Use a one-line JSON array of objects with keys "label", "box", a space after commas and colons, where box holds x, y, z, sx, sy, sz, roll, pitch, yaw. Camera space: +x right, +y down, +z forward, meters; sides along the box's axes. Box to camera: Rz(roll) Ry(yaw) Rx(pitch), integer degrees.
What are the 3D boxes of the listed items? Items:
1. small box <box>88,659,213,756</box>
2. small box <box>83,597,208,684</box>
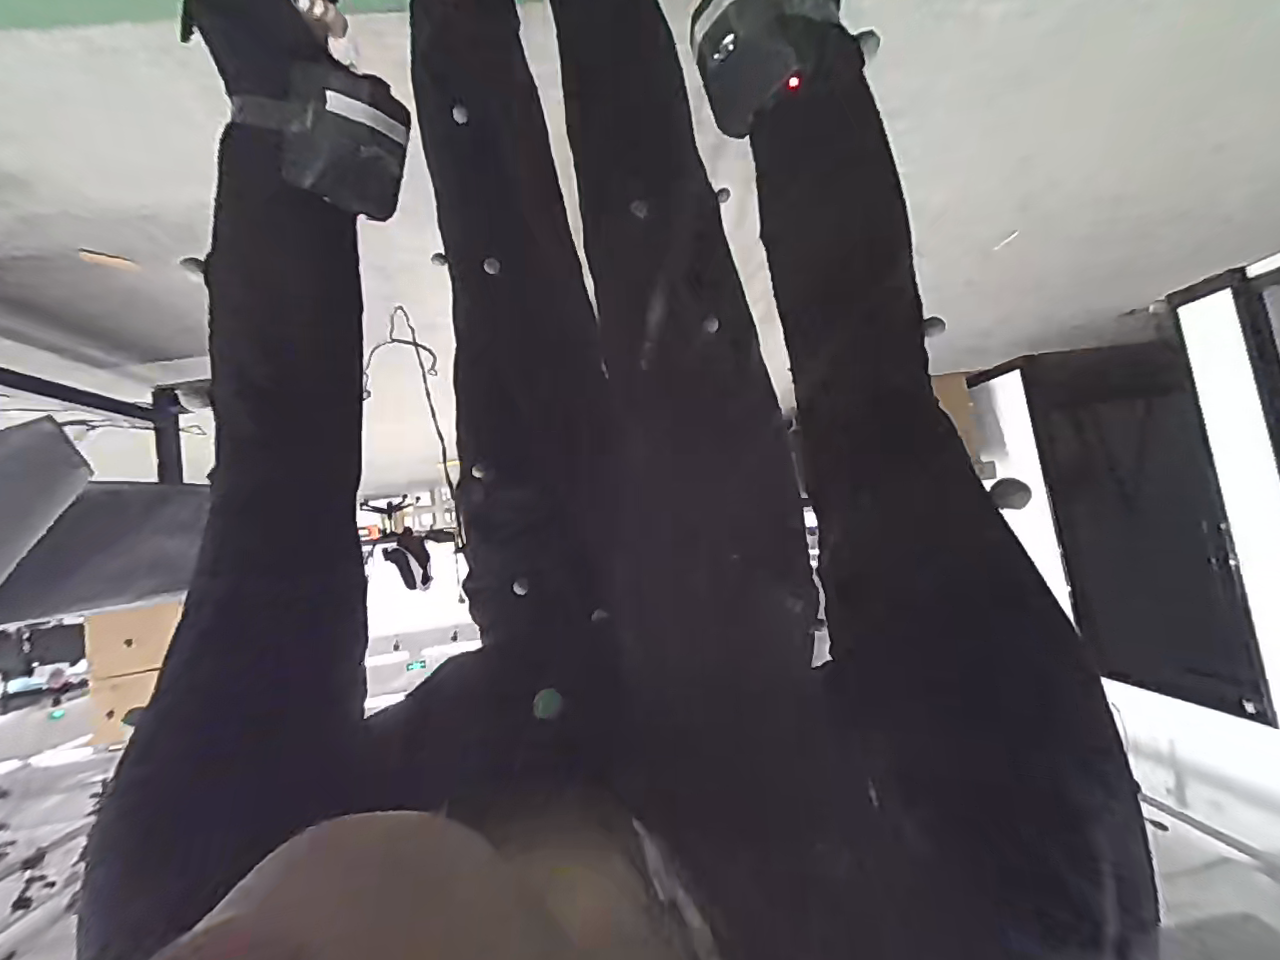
[{"label": "small box", "box": [-1.214, 0.555, 1.345, 0.168, 0.176, 0.179, -7, 175, -3]}, {"label": "small box", "box": [-1.234, 0.393, 1.357, 0.179, 0.176, 0.168, -8, 175, -6]}]
